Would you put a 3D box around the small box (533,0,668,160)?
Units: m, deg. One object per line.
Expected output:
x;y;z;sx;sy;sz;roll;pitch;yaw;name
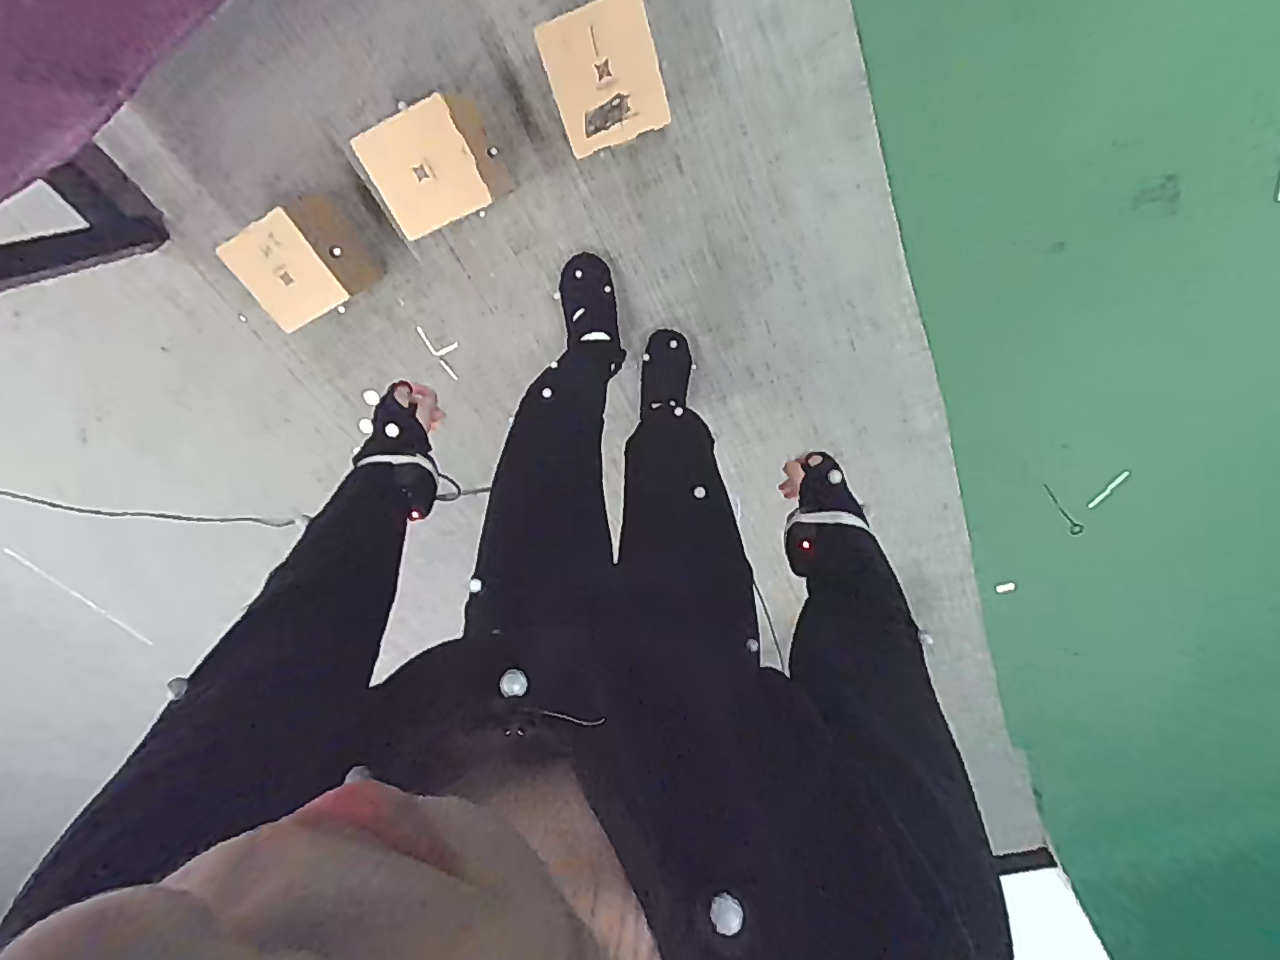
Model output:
-0.053;-0.649;0.882;0.168;0.176;0.179;-14;121;11;small box
